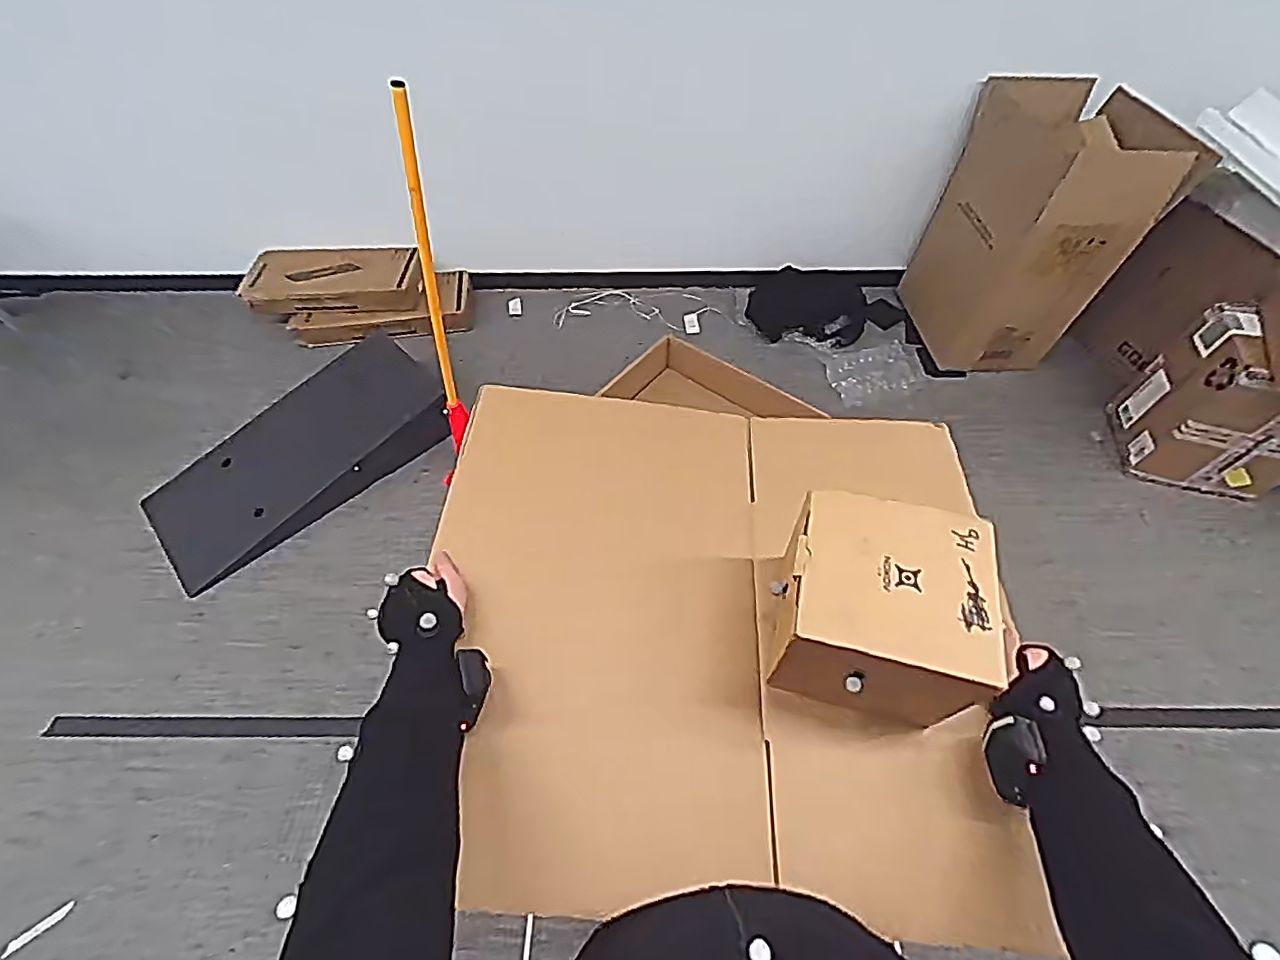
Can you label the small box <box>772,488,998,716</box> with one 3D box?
[{"bbox_3d":[0.244,0.134,0.575,0.179,0.176,0.168,11,57,12],"label":"small box"}]
